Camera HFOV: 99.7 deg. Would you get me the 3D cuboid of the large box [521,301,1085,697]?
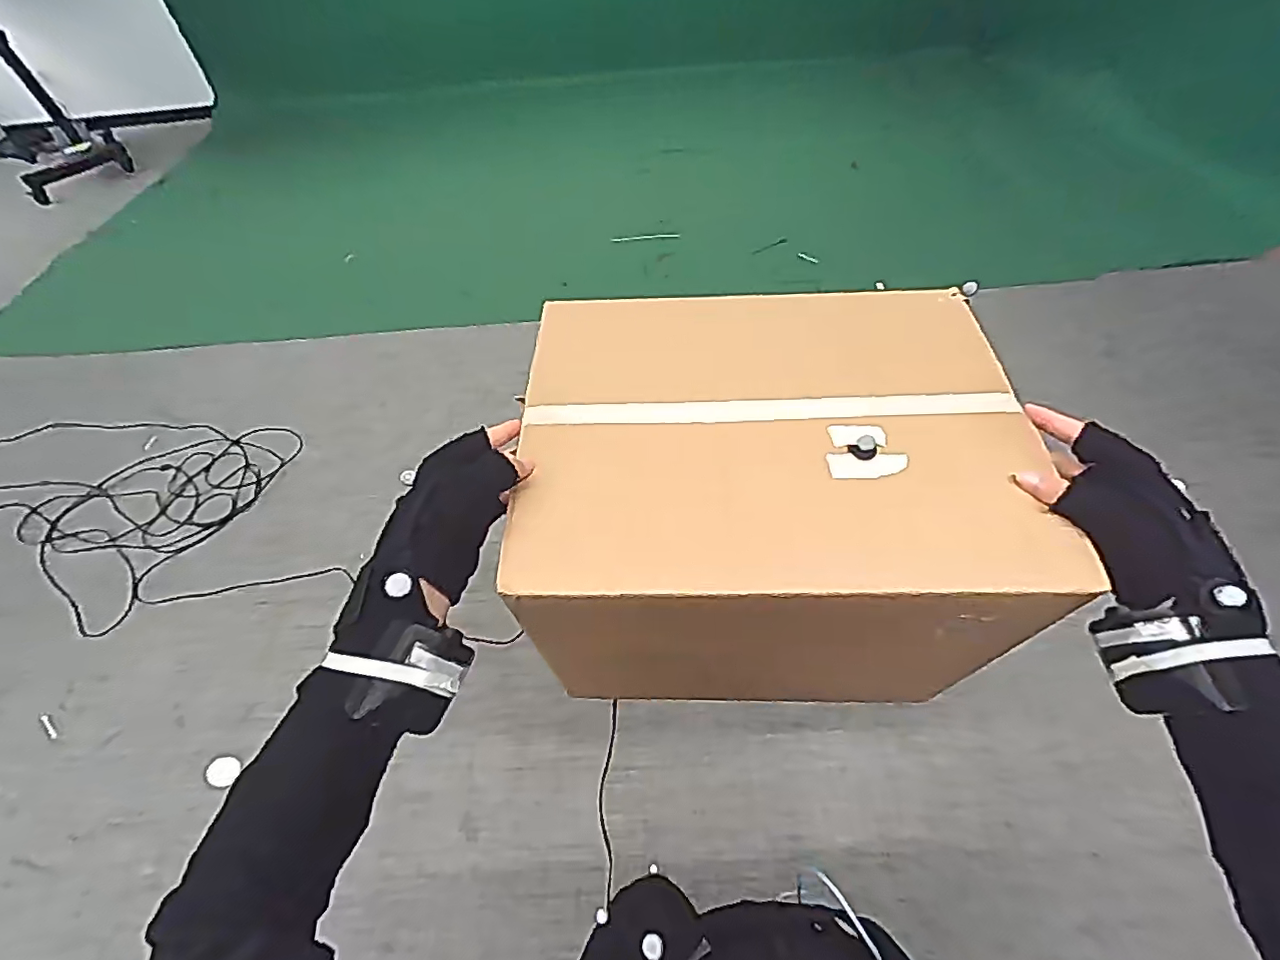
[{"bbox_3d":[0.114,0.035,0.582,0.408,0.320,0.320,-1,56,2],"label":"large box"}]
